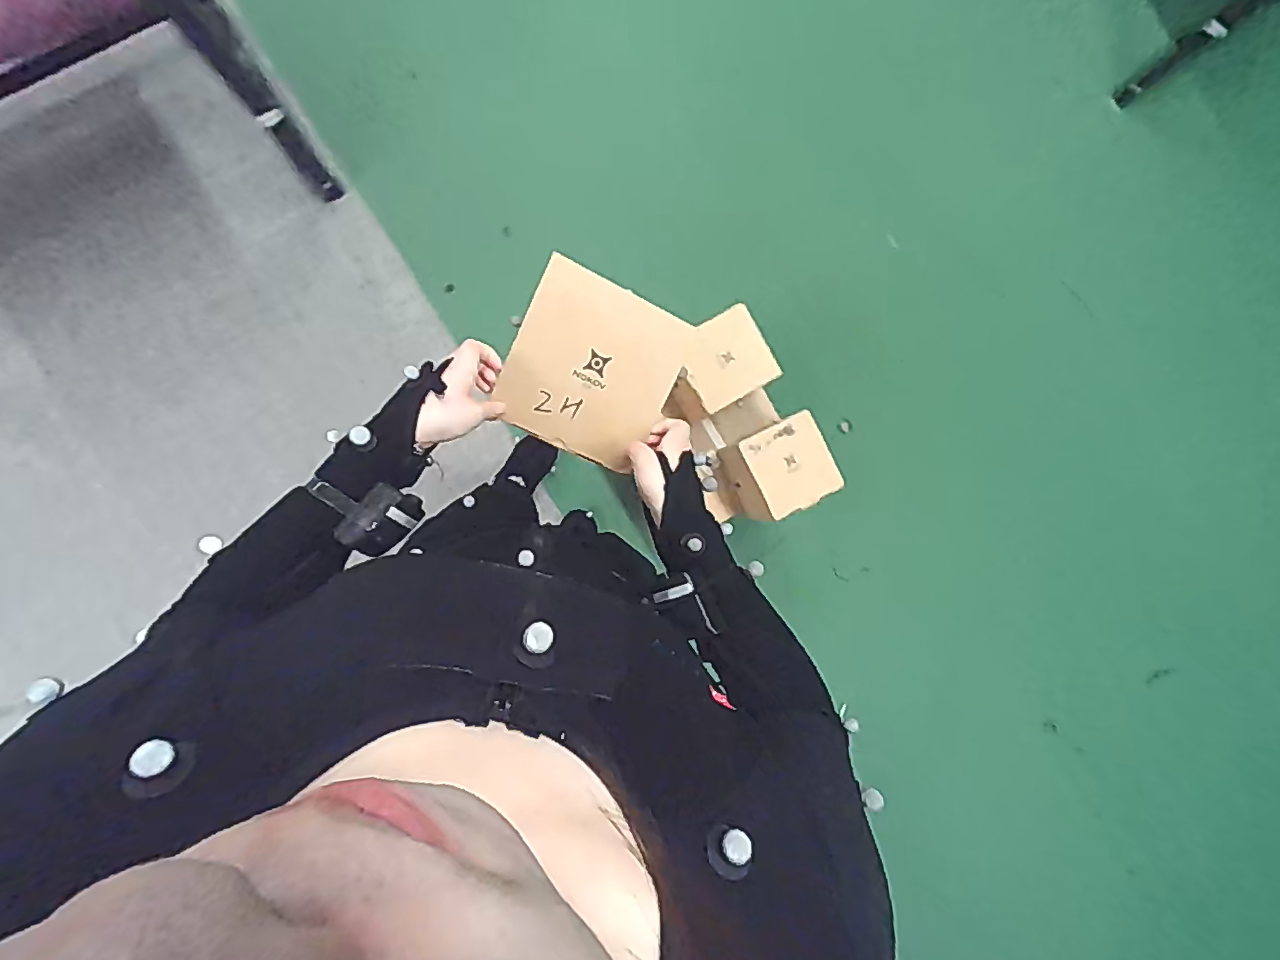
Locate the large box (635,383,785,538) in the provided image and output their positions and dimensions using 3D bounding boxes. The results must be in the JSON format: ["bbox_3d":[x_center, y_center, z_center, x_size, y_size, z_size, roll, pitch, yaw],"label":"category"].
[{"bbox_3d":[0.153,-0.111,1.377,0.320,0.320,0.408,-30,93,-5],"label":"large box"}]

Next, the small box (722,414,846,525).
[{"bbox_3d":[0.296,-0.020,1.143,0.168,0.176,0.179,-25,91,-6],"label":"small box"}]

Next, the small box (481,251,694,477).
[{"bbox_3d":[-0.064,-0.128,0.619,0.168,0.176,0.179,24,98,-12],"label":"small box"}]

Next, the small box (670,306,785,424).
[{"bbox_3d":[0.166,-0.233,1.137,0.179,0.176,0.168,-30,92,-6],"label":"small box"}]
